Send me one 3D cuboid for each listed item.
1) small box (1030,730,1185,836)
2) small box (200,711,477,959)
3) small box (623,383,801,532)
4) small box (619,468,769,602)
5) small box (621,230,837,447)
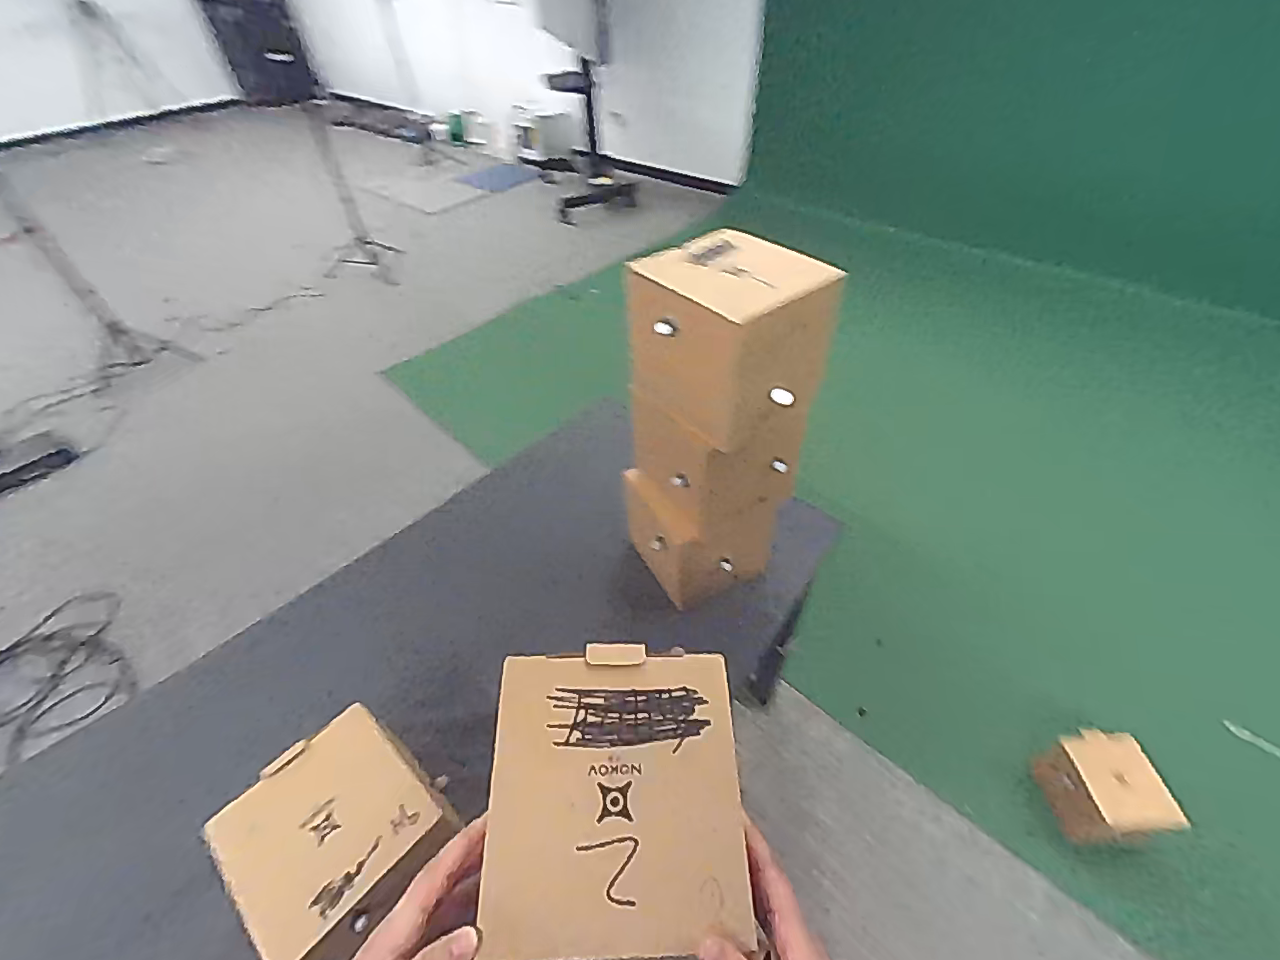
[{"bbox_3d":[1.044,0.692,1.228,0.168,0.176,0.179,-4,45,0],"label":"small box"},{"bbox_3d":[-0.305,0.395,0.575,0.179,0.176,0.168,30,54,30],"label":"small box"},{"bbox_3d":[0.094,-0.051,0.753,0.168,0.176,0.179,-26,47,-22],"label":"small box"},{"bbox_3d":[0.082,0.069,0.863,0.168,0.176,0.179,-22,46,-18],"label":"small box"},{"bbox_3d":[0.095,-0.168,0.637,0.168,0.176,0.179,-32,51,-25],"label":"small box"}]
